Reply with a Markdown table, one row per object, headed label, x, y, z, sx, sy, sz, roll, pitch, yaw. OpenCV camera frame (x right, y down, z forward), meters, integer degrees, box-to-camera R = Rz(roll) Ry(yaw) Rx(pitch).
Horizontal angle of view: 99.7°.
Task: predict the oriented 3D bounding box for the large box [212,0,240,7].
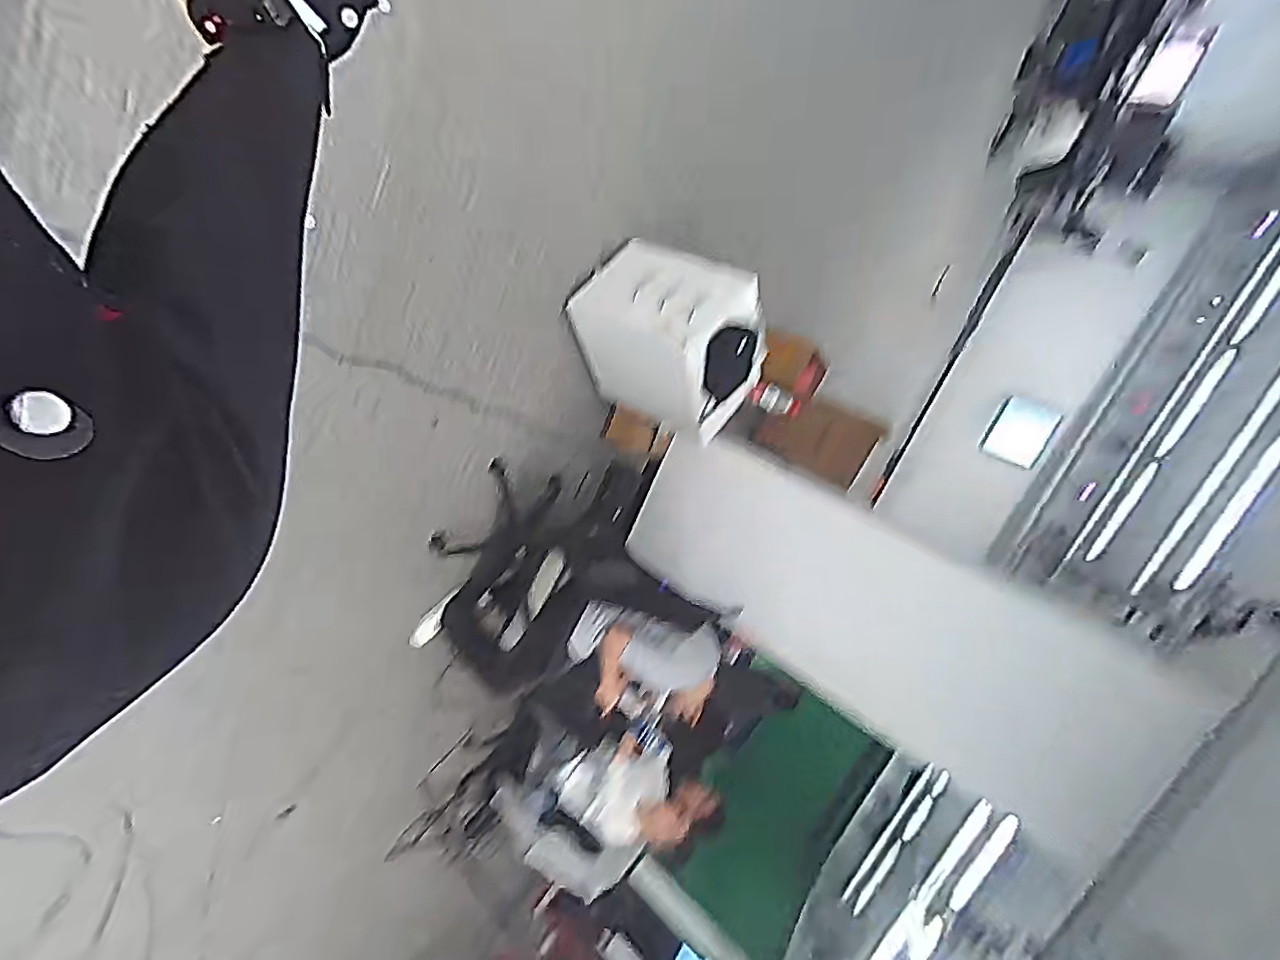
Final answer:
| label | x | y | z | sx | sy | sz | roll | pitch | yaw |
| --- | --- | --- | --- | --- | --- | --- | --- | --- | --- |
| large box | -0.447 | -0.628 | 0.333 | 0.320 | 0.320 | 0.408 | -55 | 149 | 9 |
